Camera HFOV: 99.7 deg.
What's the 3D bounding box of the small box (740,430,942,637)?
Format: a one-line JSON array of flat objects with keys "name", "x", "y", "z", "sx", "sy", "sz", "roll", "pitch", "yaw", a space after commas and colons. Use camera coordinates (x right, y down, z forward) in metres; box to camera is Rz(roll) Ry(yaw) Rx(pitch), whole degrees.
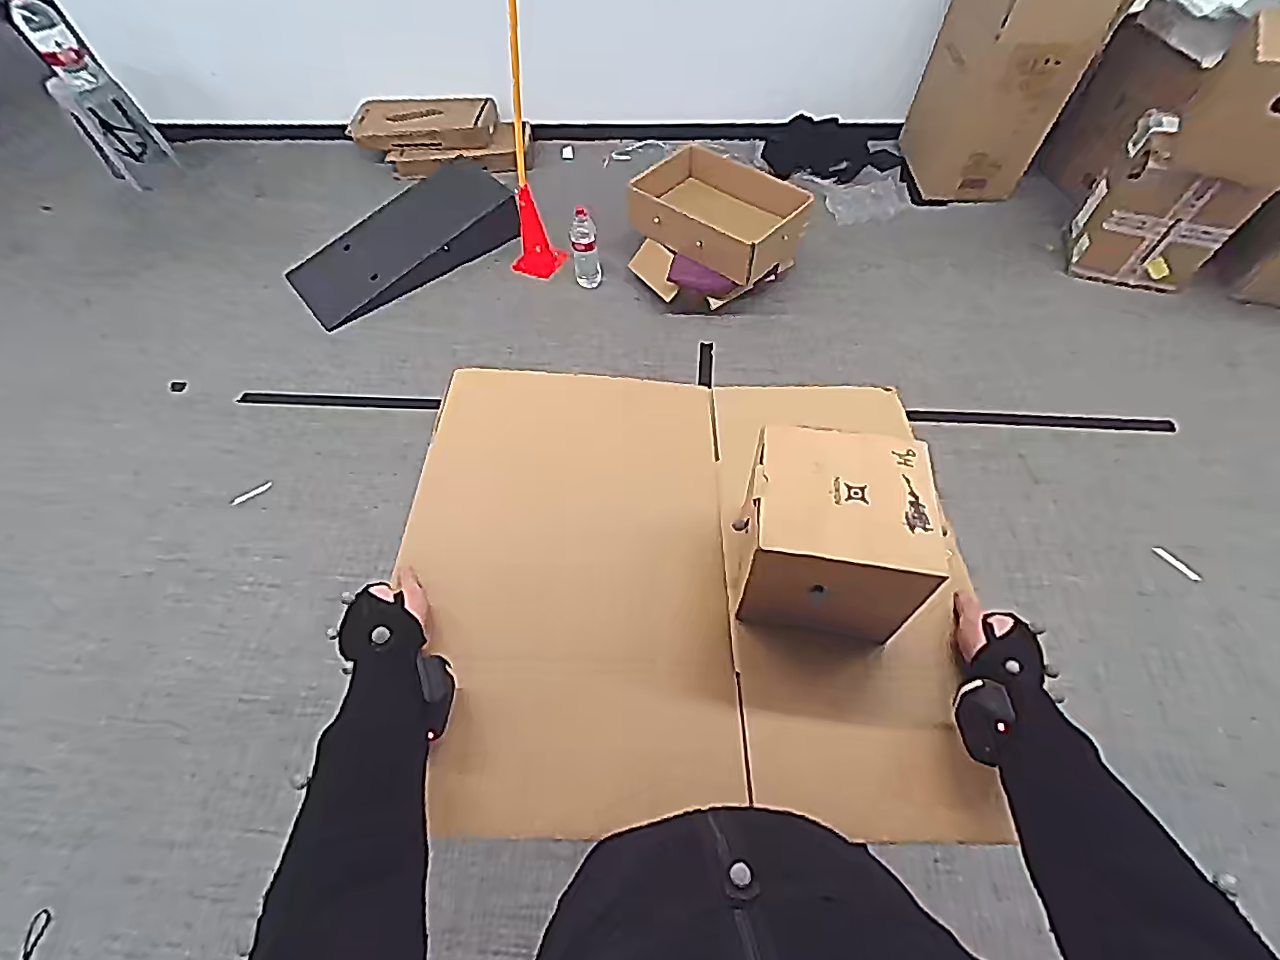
[{"name": "small box", "x": 0.212, "y": 0.065, "z": 0.619, "sx": 0.179, "sy": 0.176, "sz": 0.168, "roll": 7, "pitch": 54, "yaw": 8}]
